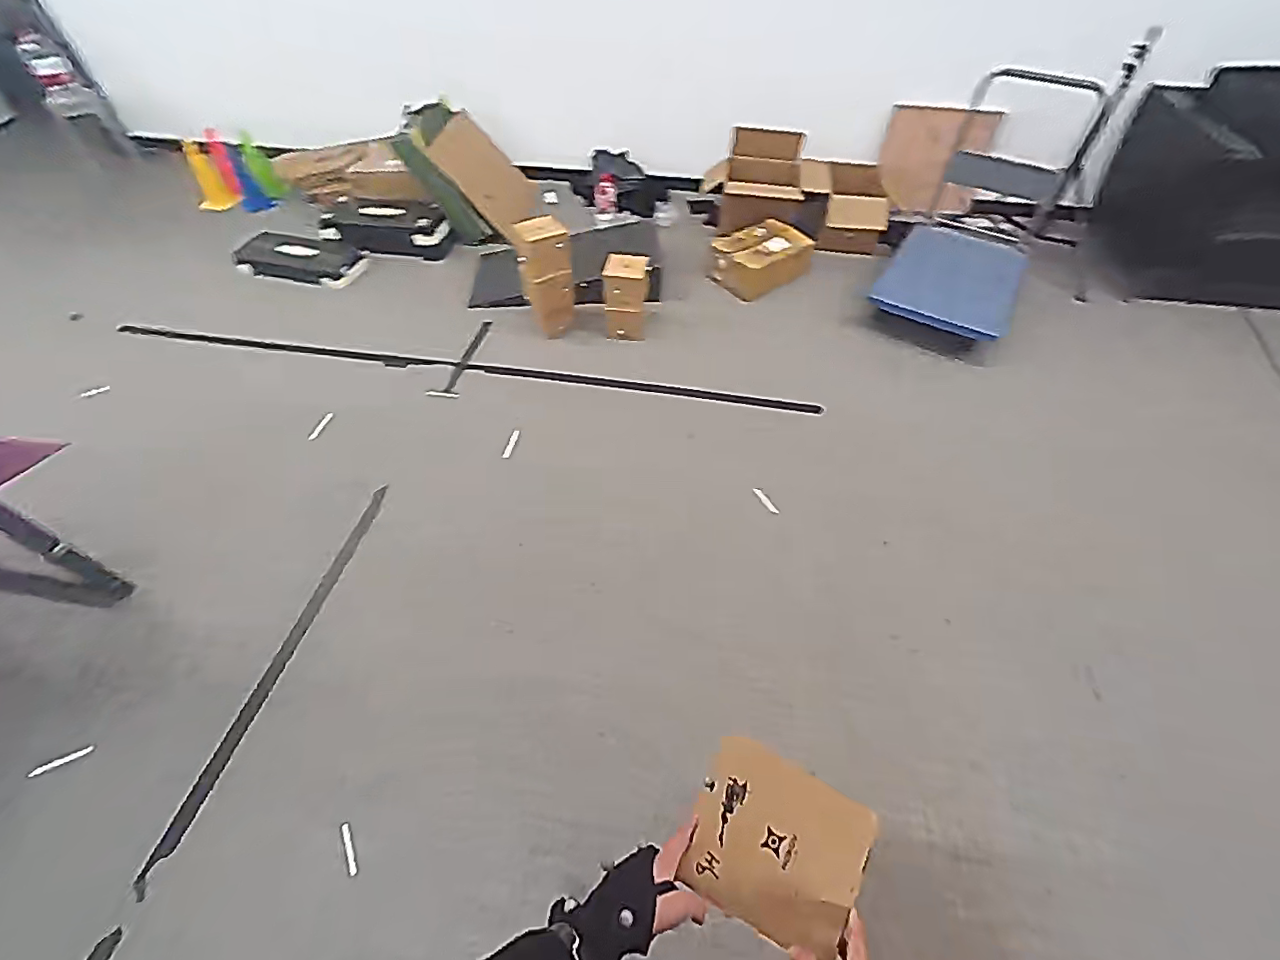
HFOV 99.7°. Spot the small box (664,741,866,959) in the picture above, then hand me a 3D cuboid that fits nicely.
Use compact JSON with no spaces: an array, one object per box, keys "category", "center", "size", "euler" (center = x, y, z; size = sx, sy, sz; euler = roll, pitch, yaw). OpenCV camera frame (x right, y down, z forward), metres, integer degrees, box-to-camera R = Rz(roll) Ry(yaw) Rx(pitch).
[{"category":"small box","center":[0.144,0.447,0.675],"size":[0.179,0.176,0.168],"euler":[27,67,13]}]
